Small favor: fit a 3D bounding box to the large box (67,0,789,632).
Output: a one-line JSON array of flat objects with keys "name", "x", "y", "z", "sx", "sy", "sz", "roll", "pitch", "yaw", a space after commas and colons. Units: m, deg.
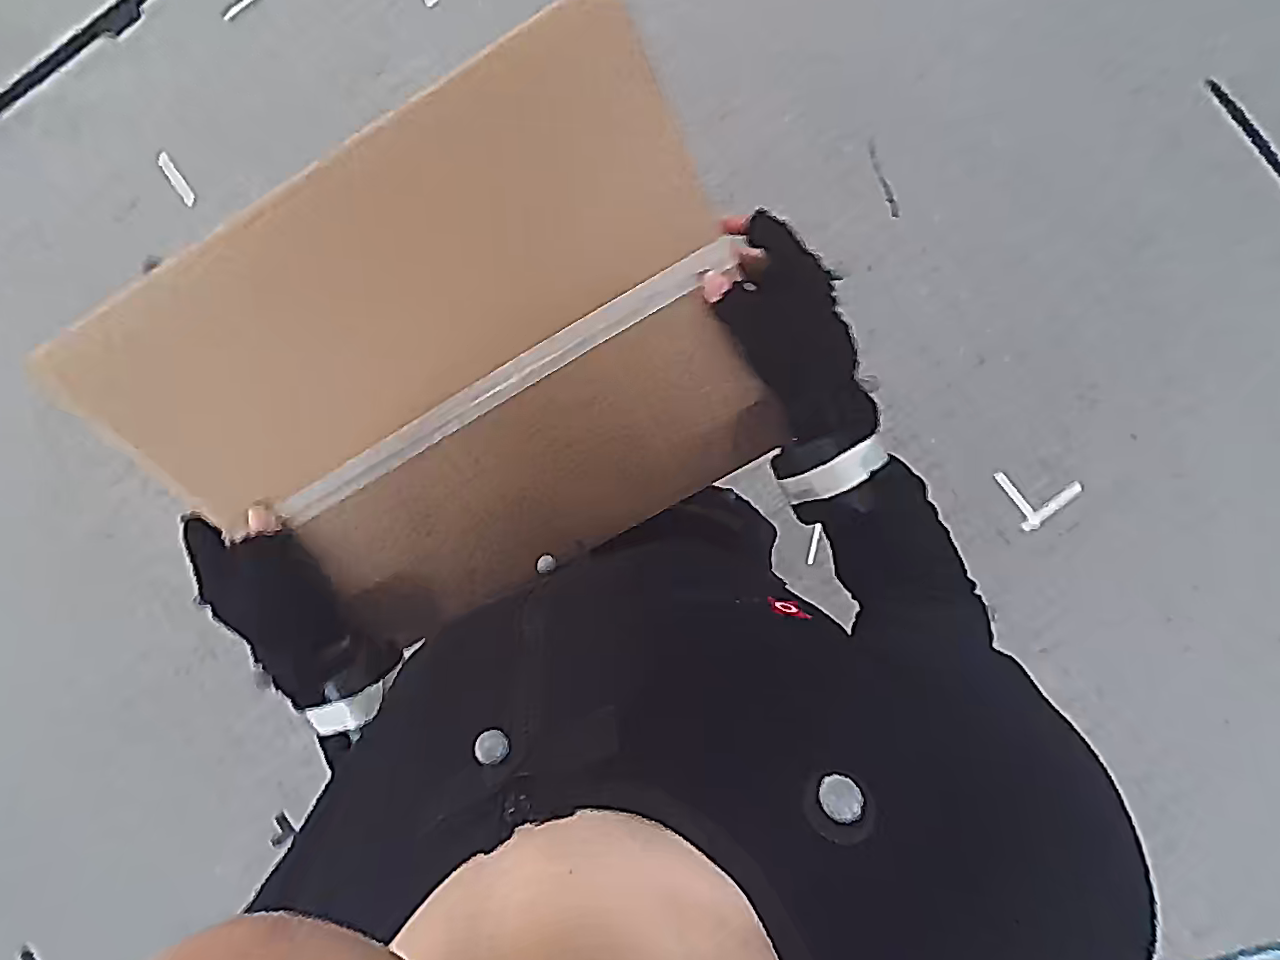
[{"name": "large box", "x": -0.142, "y": -0.139, "z": 0.514, "sx": 0.408, "sy": 0.320, "sz": 0.320, "roll": -29, "pitch": 122, "yaw": 6}]
